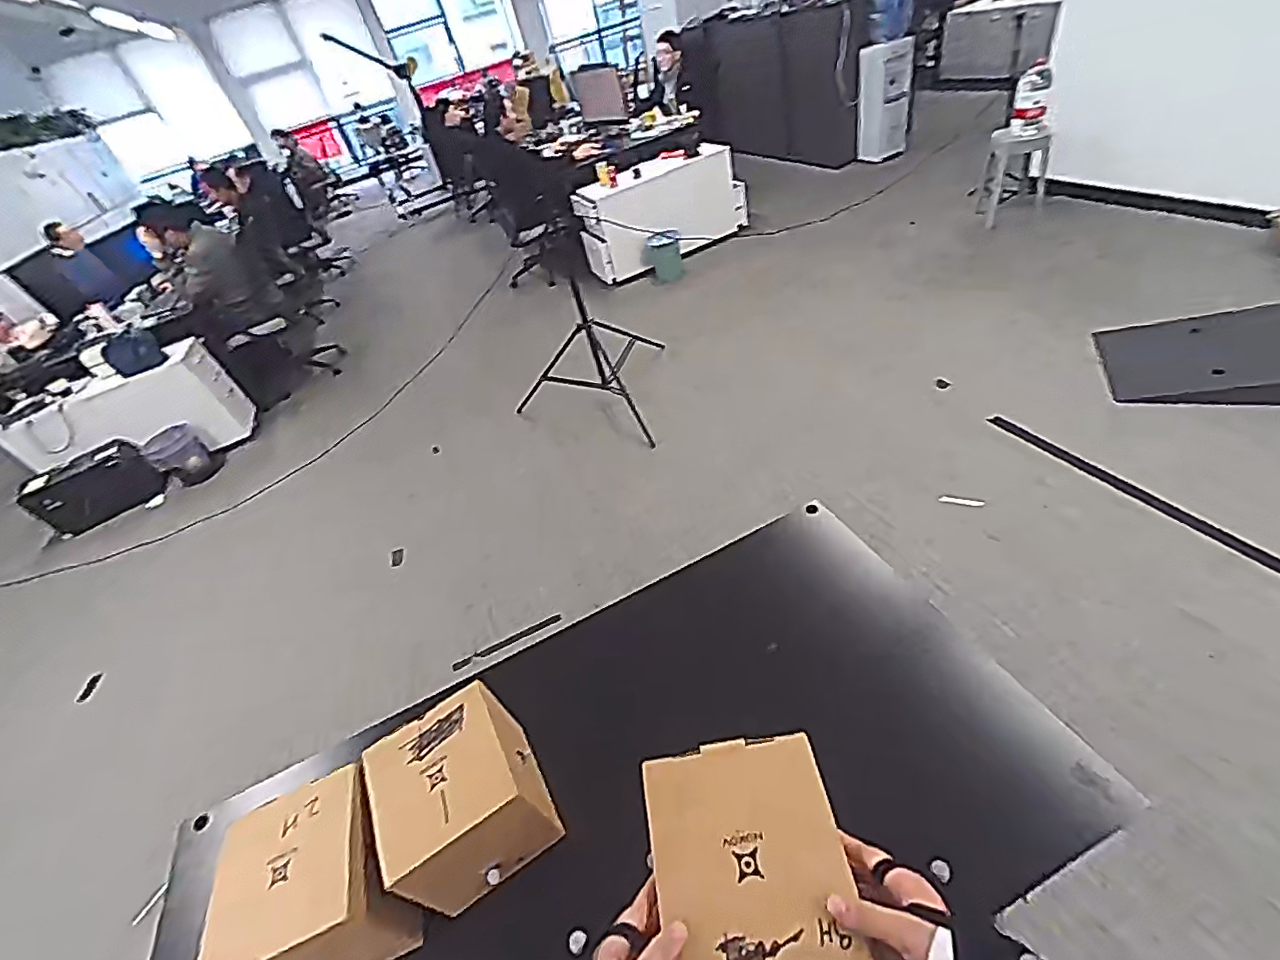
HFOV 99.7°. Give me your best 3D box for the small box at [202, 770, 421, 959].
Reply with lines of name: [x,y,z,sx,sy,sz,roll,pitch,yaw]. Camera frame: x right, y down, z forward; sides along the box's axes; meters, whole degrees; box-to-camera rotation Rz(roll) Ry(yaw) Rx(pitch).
small box: [-0.389,0.509,0.674,0.168,0.176,0.179,-24,40,-8]

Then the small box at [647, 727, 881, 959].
small box: [0.107,0.371,0.526,0.168,0.176,0.179,-12,46,2]
